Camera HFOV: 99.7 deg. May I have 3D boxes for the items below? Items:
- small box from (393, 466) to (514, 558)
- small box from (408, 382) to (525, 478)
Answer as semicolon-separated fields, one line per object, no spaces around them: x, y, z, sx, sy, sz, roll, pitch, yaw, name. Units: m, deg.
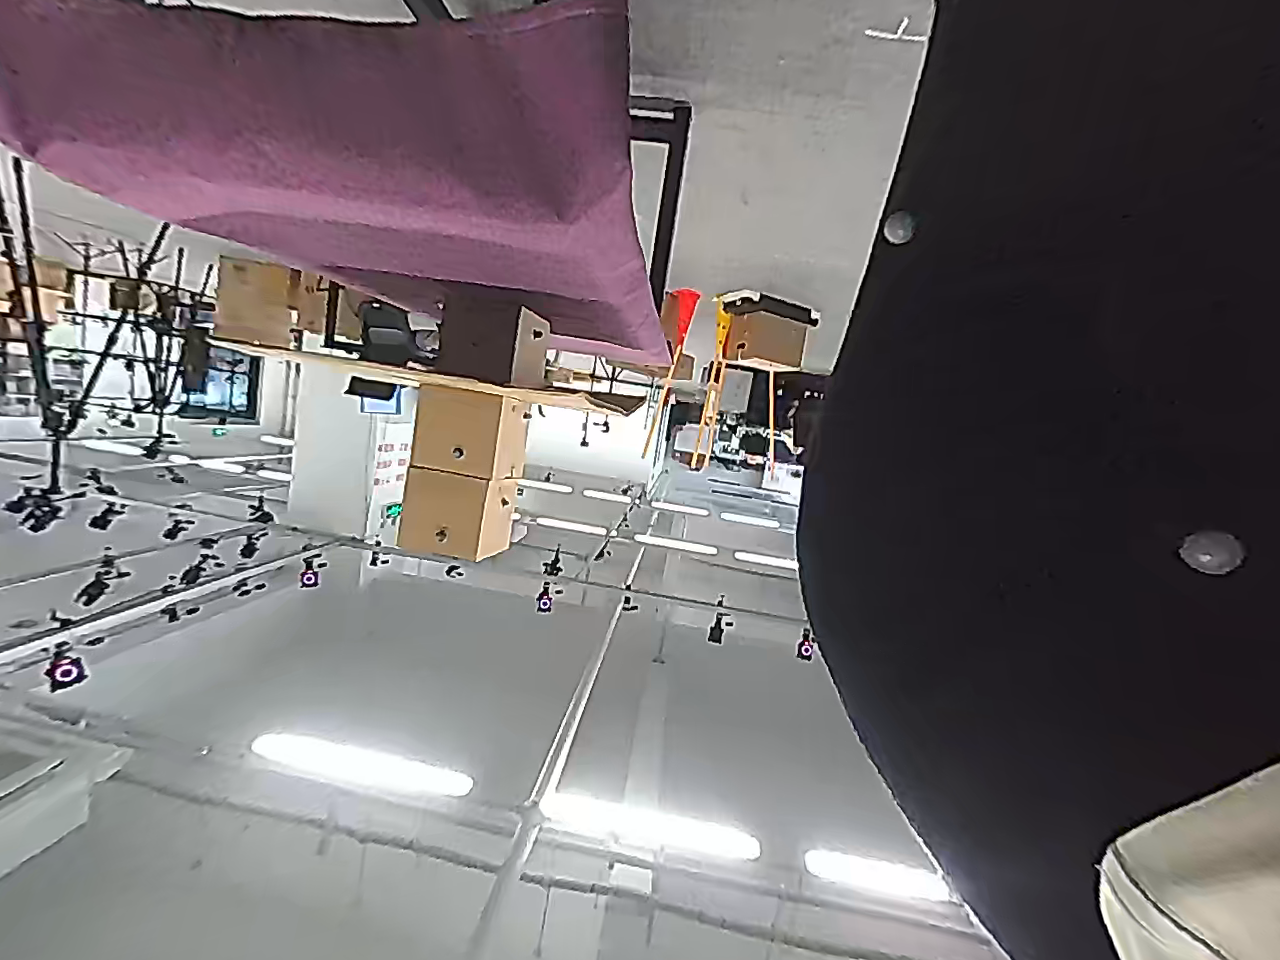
-0.381;0.054;1.129;0.179;0.176;0.168;9;-177;8;small box
-0.347;-0.104;1.114;0.179;0.176;0.168;10;-176;7;small box
